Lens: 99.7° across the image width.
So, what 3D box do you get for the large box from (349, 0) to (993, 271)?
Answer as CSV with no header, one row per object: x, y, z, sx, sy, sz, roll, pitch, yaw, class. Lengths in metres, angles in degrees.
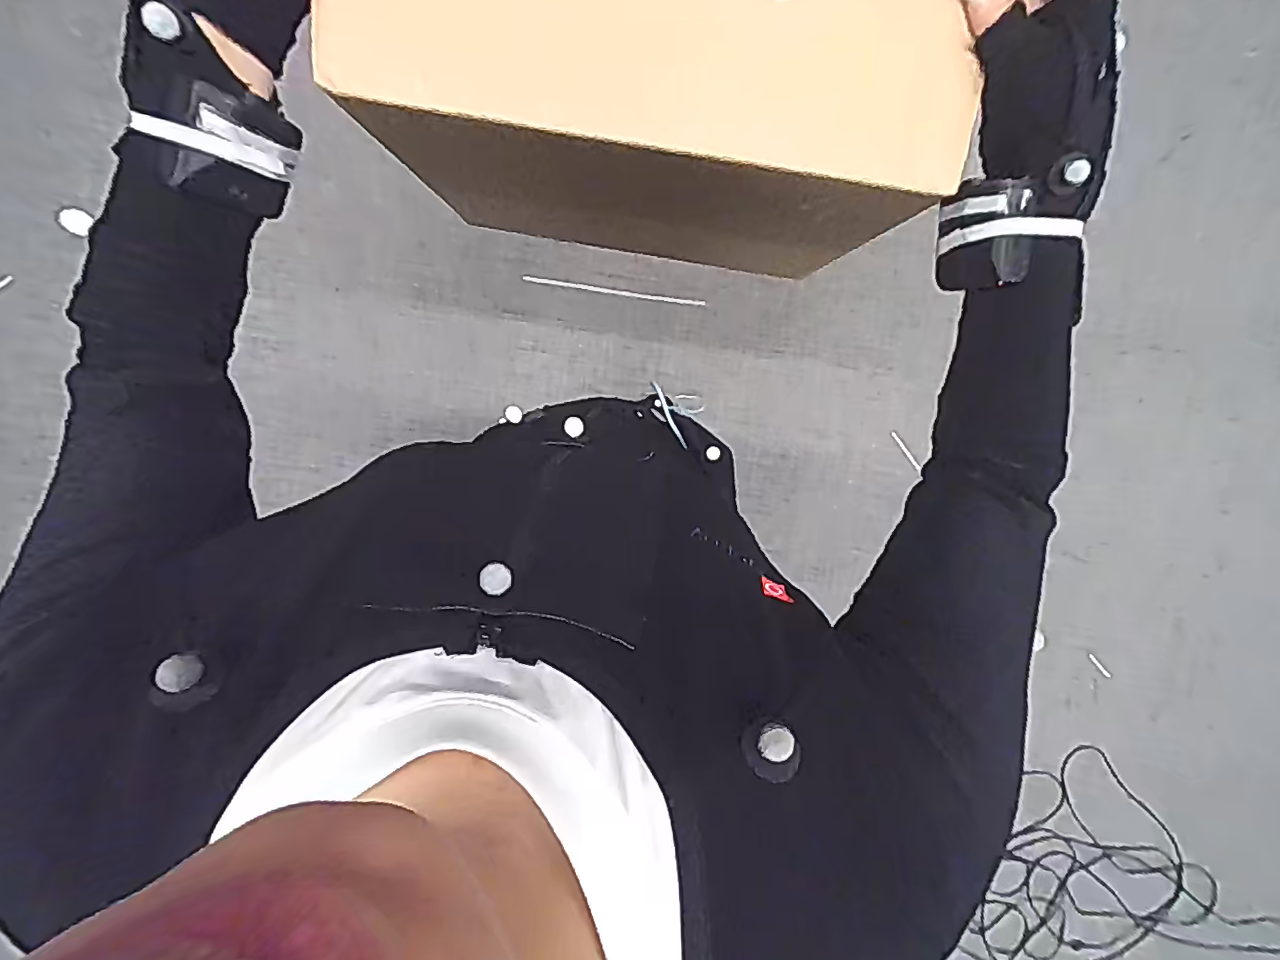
0.027,-0.393,0.468,0.408,0.320,0.320,8,102,-3,large box
